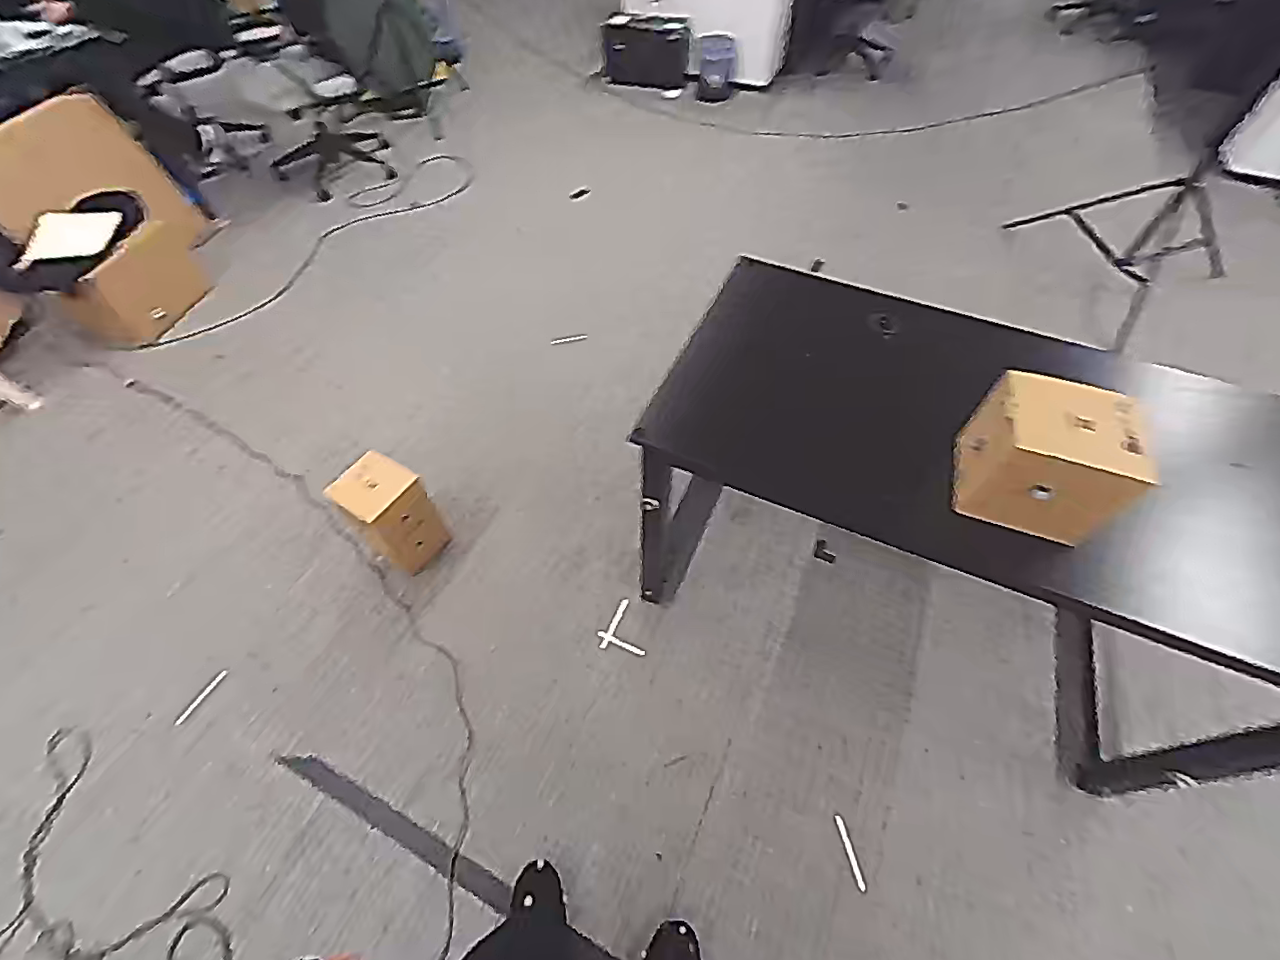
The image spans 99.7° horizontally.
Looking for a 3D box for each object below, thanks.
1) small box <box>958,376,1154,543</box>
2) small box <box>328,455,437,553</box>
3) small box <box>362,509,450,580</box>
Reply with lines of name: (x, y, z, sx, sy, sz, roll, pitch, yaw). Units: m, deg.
small box: (0.611, -0.027, 0.823, 0.179, 0.176, 0.168, 17, 56, 12)
small box: (-0.677, 0.070, 1.445, 0.179, 0.176, 0.168, 26, 57, 18)
small box: (-0.684, 0.158, 1.584, 0.168, 0.176, 0.179, 29, 60, 19)
